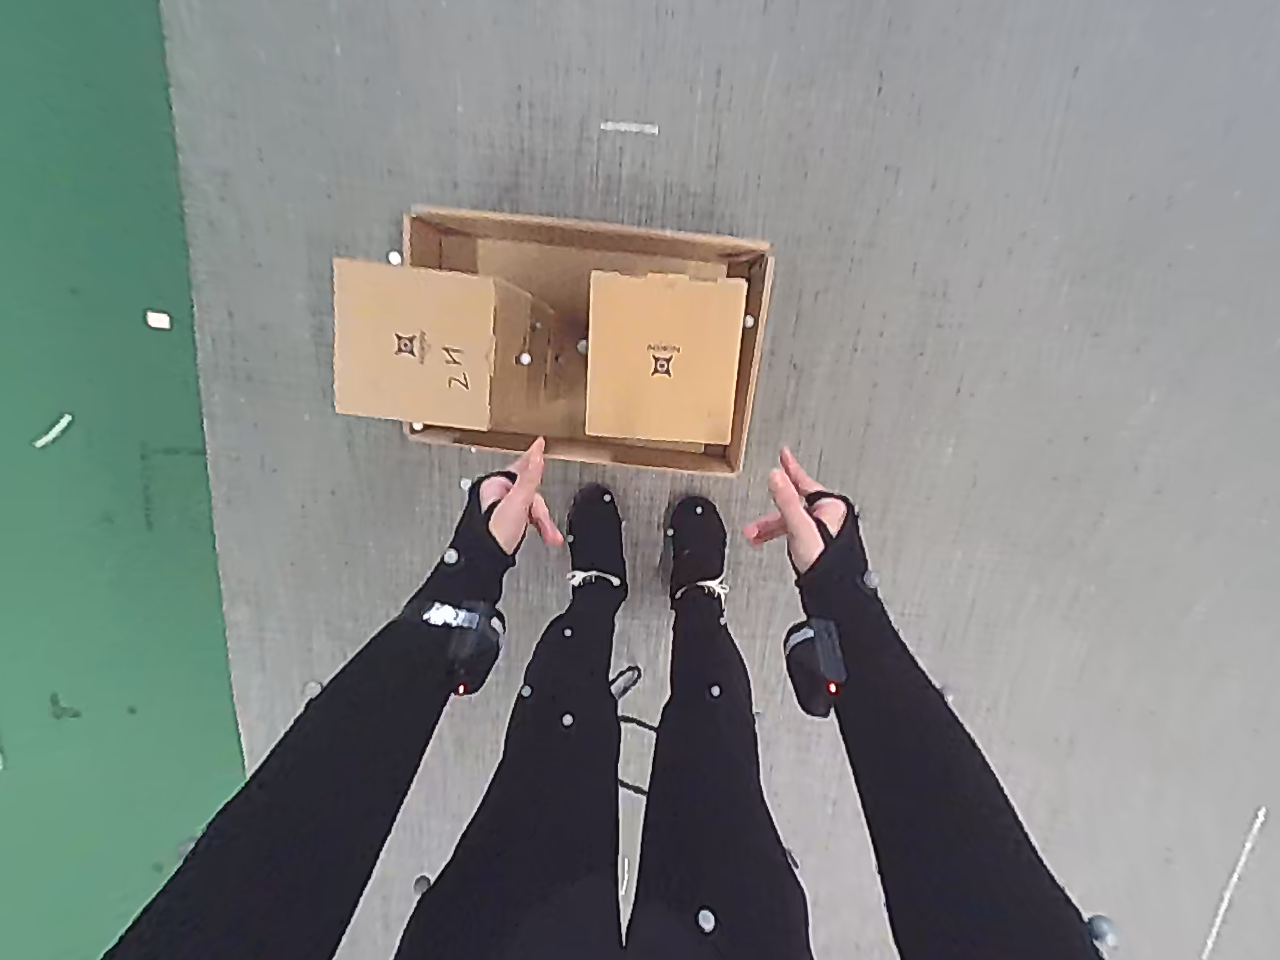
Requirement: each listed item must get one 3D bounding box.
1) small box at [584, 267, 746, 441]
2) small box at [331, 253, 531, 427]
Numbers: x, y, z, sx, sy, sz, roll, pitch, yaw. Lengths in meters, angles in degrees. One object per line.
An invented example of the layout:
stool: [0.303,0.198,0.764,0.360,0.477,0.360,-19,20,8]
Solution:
small box: [0.029,-0.153,0.657,0.168,0.176,0.179,4,105,2]
small box: [-0.243,-0.164,0.659,0.179,0.176,0.168,7,103,-1]
